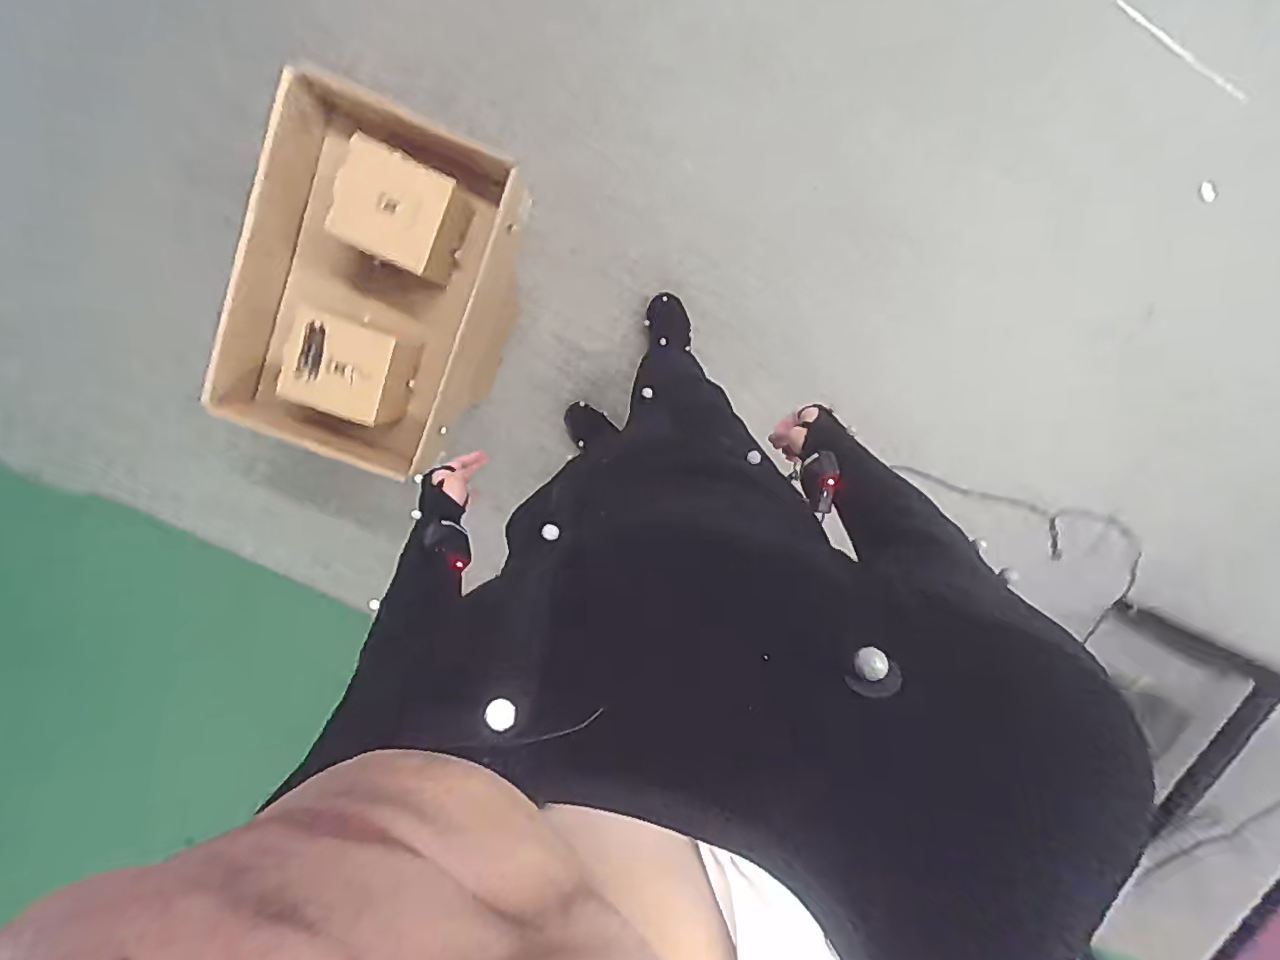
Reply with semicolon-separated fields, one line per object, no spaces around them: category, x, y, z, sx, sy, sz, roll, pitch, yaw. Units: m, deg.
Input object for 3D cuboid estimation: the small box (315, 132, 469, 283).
small box;-0.433;-0.471;0.970;0.179;0.176;0.168;23;100;-9
